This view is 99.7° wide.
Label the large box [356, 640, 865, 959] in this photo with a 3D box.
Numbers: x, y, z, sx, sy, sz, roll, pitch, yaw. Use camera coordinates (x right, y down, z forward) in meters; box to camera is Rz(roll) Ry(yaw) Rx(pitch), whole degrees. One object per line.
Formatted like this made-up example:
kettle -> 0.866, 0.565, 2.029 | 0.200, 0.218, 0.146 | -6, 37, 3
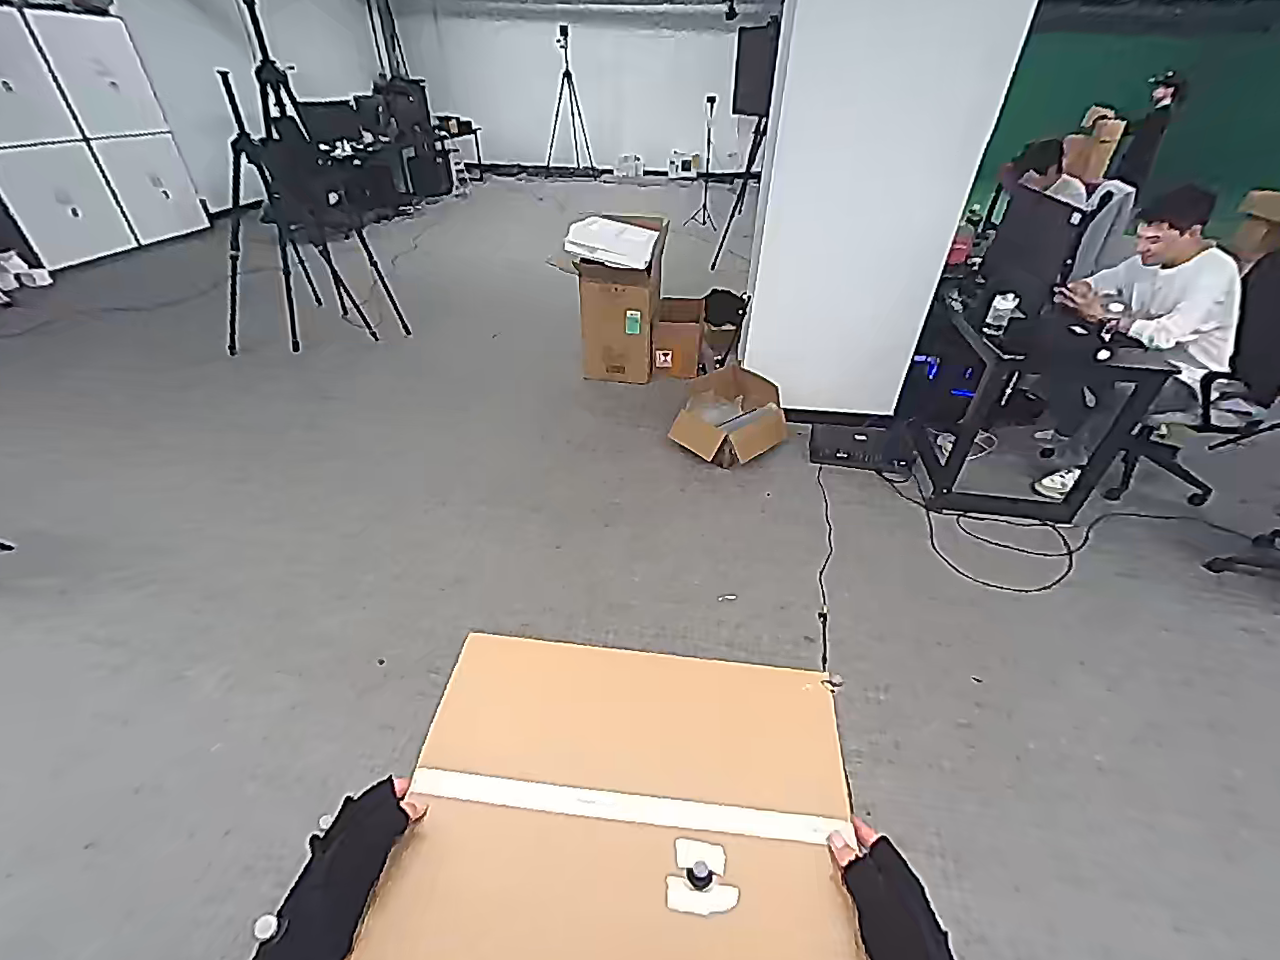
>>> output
large box -> -0.017, 0.412, 0.599 | 0.408, 0.320, 0.320 | 6, 43, 3
